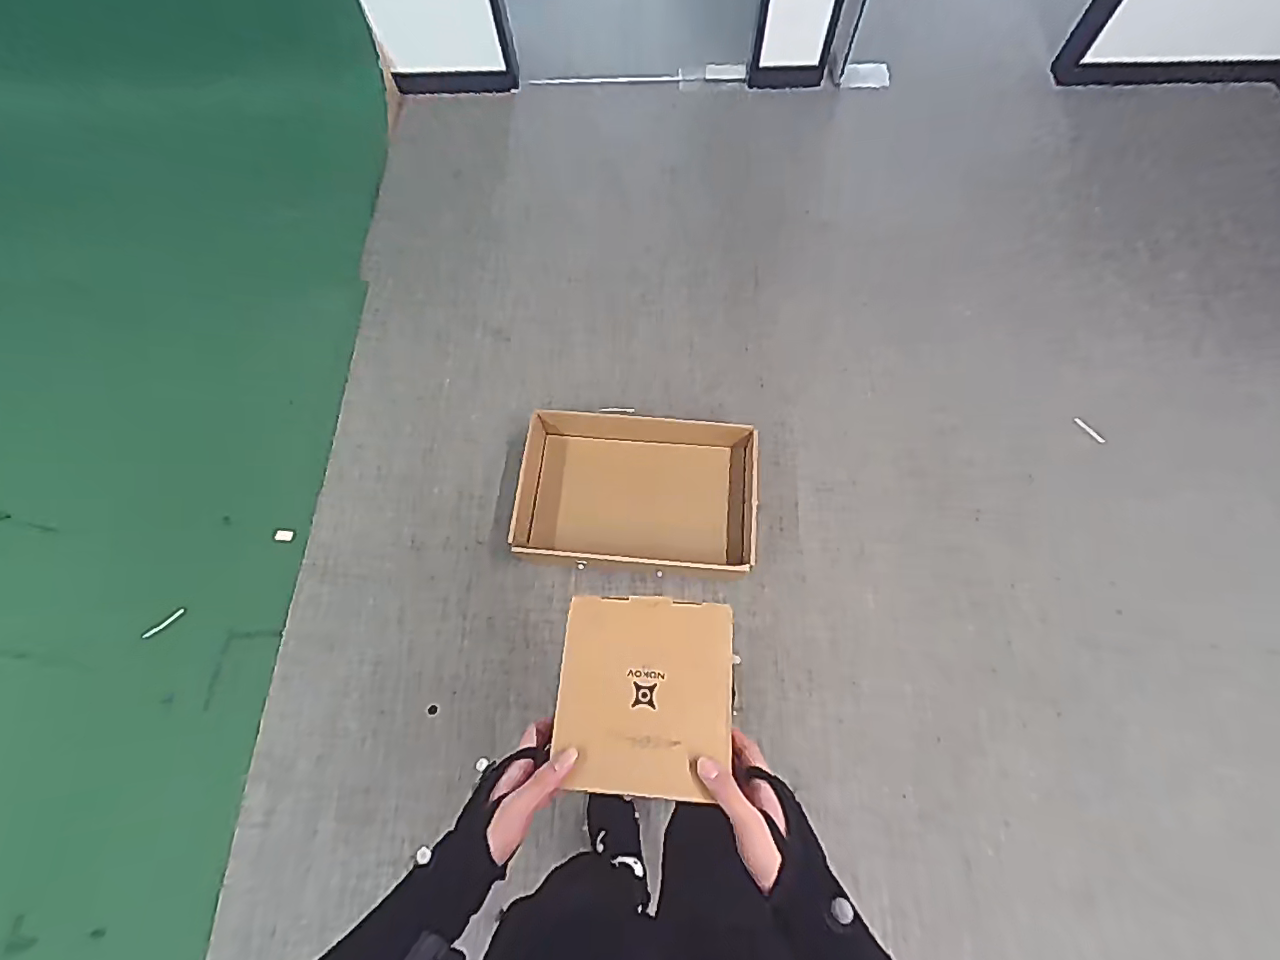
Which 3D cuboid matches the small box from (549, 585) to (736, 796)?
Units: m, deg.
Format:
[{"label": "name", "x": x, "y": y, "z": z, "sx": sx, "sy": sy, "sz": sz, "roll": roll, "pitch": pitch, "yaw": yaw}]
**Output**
[{"label": "small box", "x": 0.010, "y": 0.224, "z": 0.578, "sx": 0.168, "sy": 0.176, "sz": 0.179, "roll": 3, "pitch": 65, "yaw": 5}]
